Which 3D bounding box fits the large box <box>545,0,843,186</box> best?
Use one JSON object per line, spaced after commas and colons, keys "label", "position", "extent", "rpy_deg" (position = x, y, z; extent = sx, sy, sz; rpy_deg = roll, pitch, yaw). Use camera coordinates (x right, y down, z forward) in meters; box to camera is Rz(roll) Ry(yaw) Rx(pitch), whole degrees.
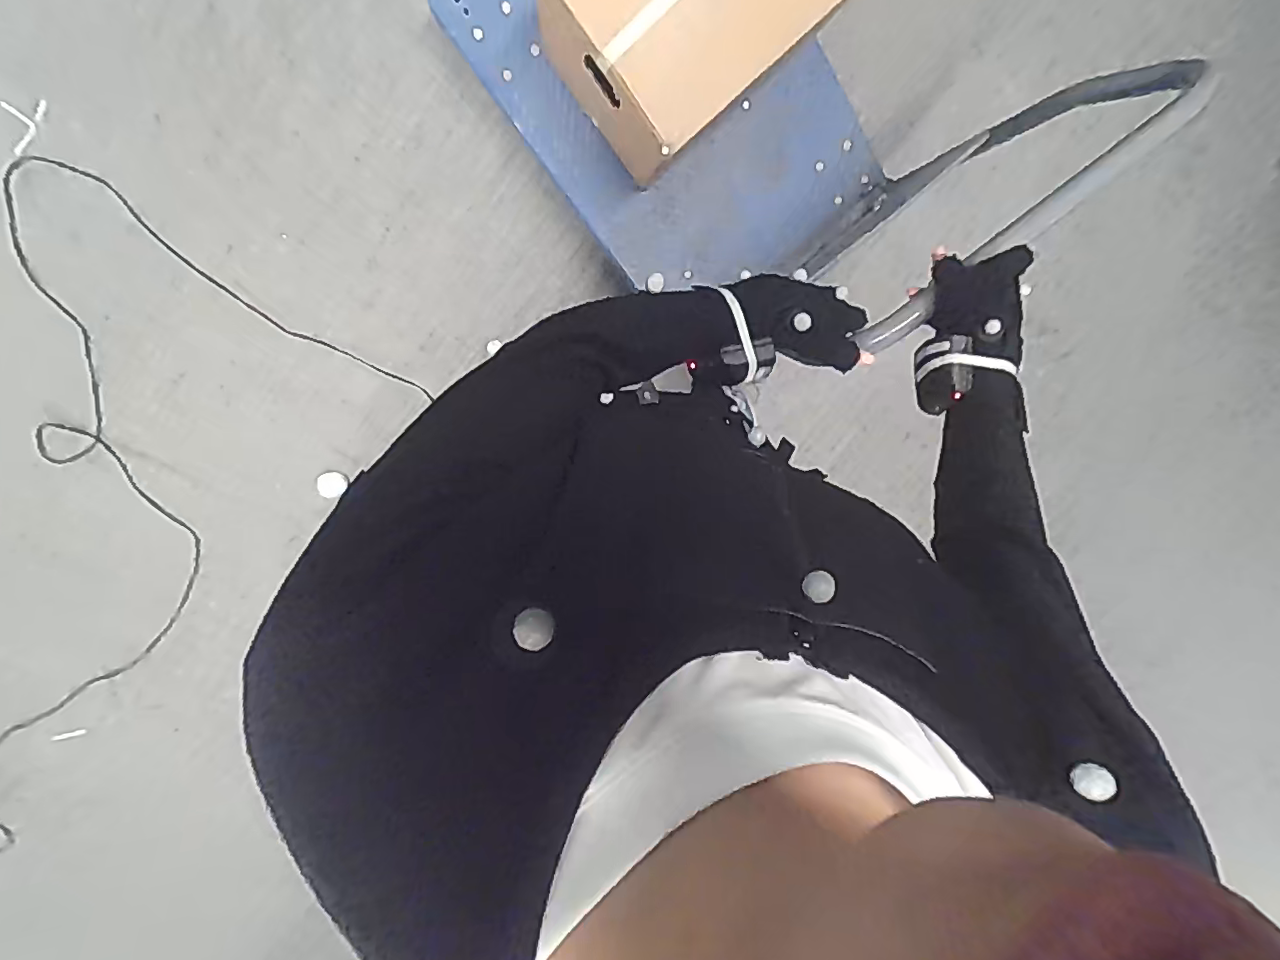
{"label": "large box", "position": [0.089, -0.788, 0.910], "extent": [0.408, 0.320, 0.320], "rpy_deg": [-40, 108, 8]}
